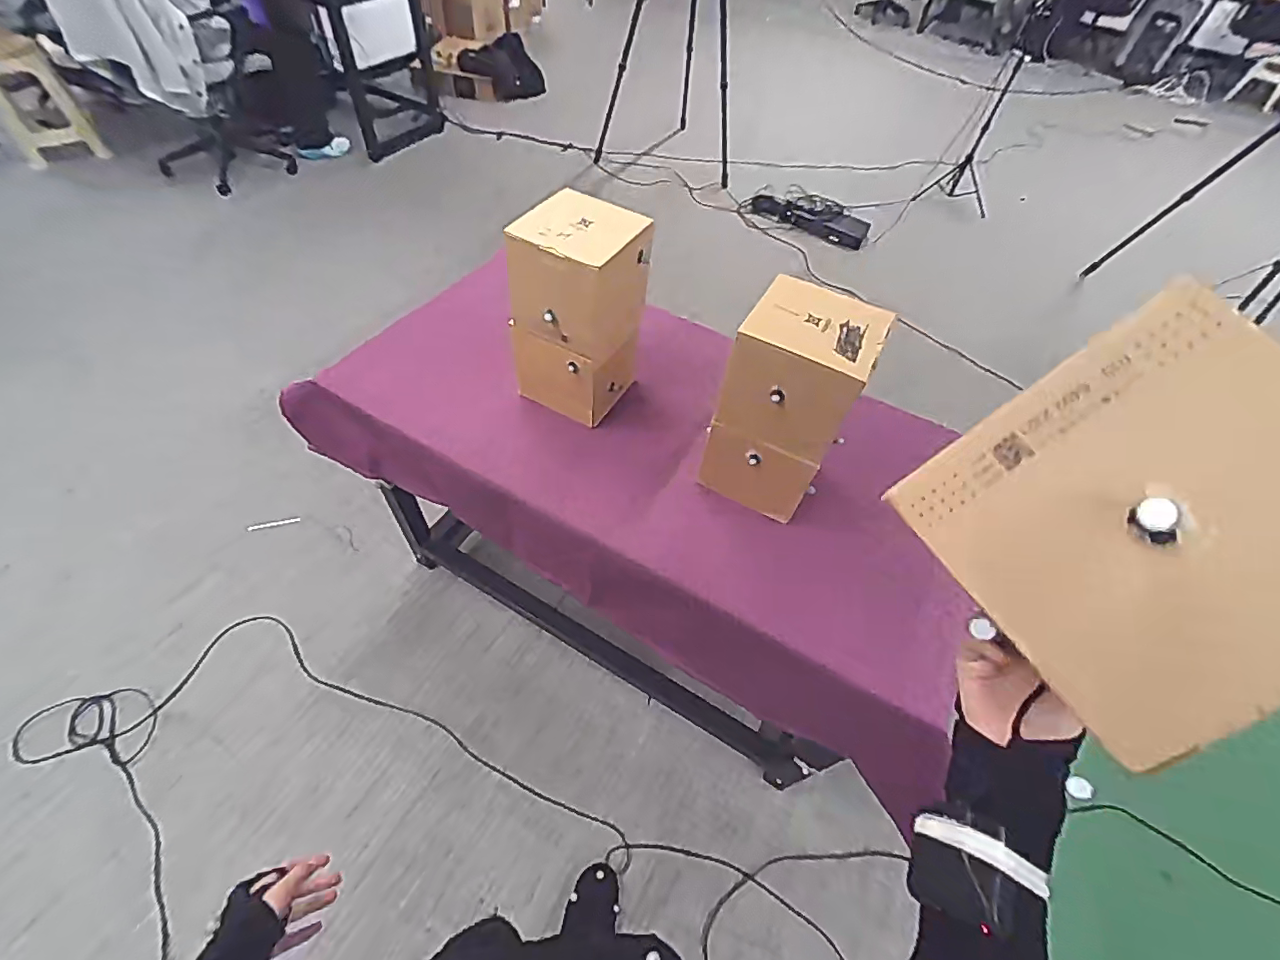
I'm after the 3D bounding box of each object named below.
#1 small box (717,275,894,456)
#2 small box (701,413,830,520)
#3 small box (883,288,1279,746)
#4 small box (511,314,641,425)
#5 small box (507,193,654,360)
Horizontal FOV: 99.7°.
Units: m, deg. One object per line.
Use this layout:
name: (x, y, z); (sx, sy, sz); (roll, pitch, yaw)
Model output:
small box: (0.233, -0.160, 0.788); (0.179, 0.176, 0.168); (26, 55, 14)
small box: (0.220, -0.060, 0.917); (0.179, 0.176, 0.168); (27, 55, 14)
small box: (0.270, 0.016, 0.328); (0.168, 0.179, 0.176); (-42, 71, 16)
small box: (-0.117, -0.233, 1.017); (0.179, 0.176, 0.168); (26, 54, 13)
small box: (-0.095, -0.332, 0.887); (0.168, 0.176, 0.179); (26, 54, 13)
